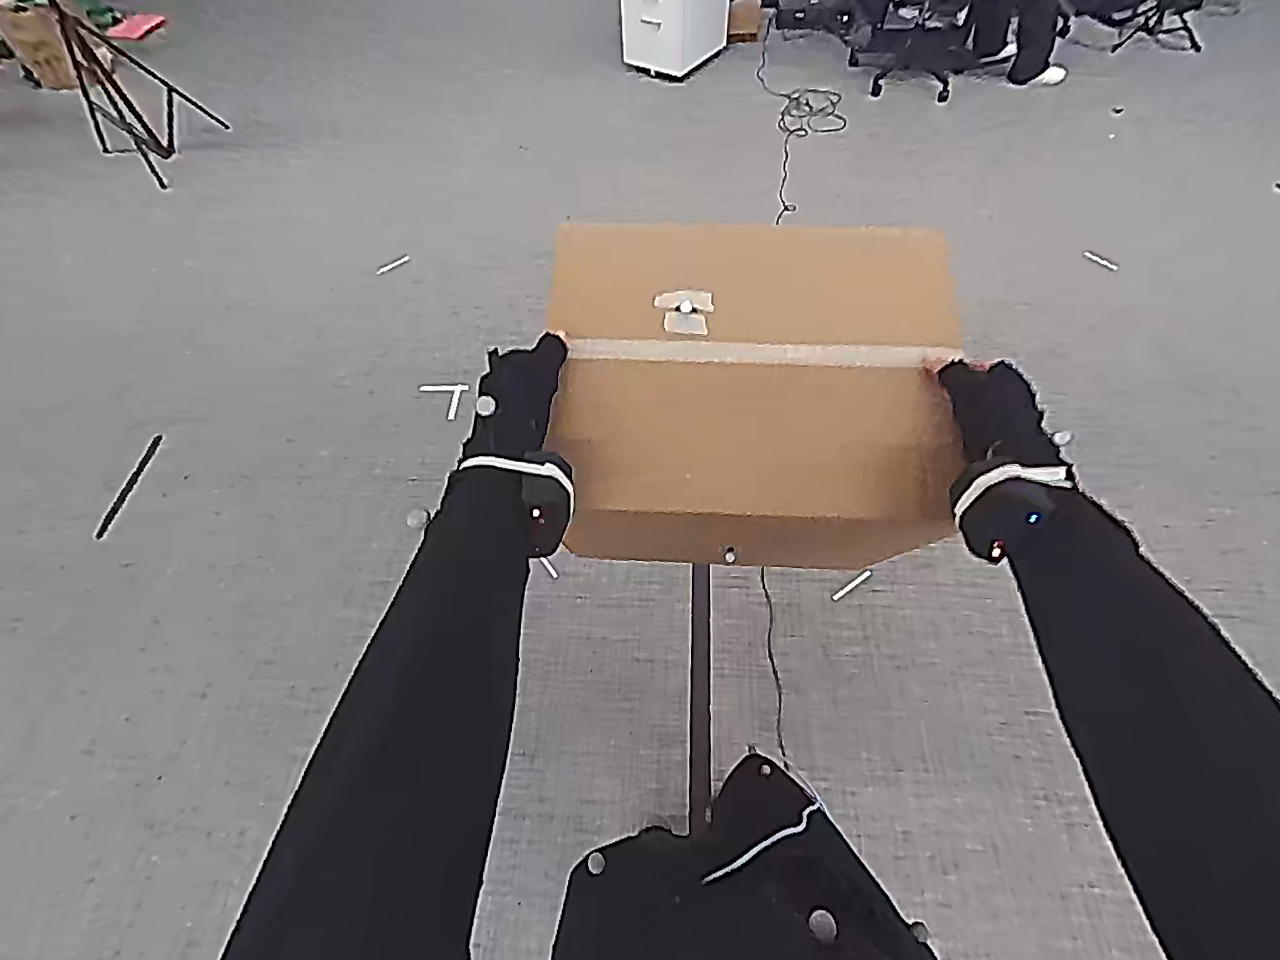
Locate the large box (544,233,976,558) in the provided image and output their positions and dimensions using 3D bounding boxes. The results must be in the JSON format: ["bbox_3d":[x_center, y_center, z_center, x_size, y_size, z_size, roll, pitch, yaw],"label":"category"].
[{"bbox_3d":[0.120,-0.076,0.681,0.408,0.320,0.320,2,72,3],"label":"large box"}]
